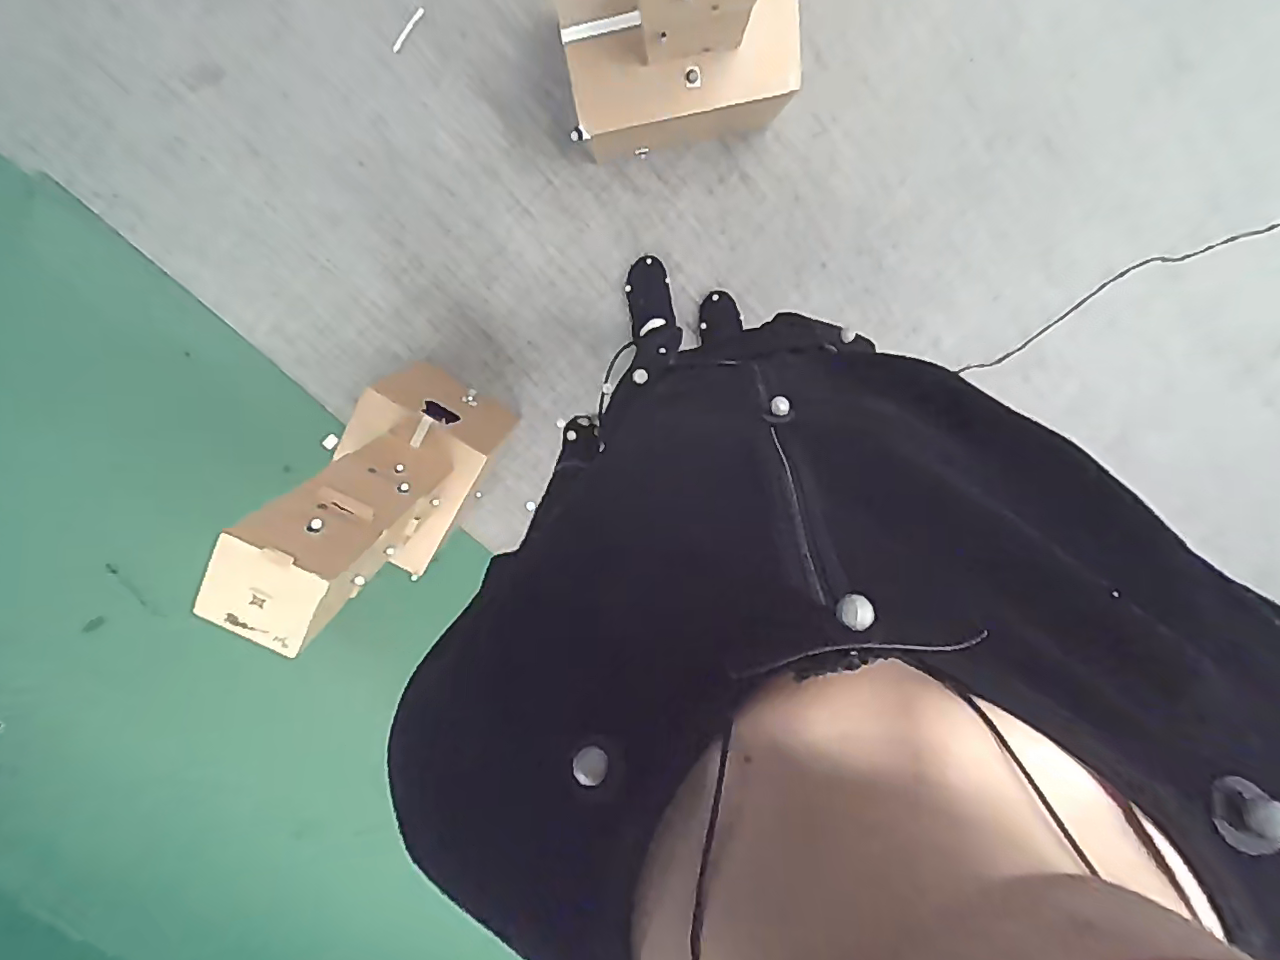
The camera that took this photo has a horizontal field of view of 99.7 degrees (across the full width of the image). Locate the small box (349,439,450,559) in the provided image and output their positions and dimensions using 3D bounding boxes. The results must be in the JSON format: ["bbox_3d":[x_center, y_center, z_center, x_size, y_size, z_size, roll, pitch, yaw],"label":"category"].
[{"bbox_3d":[-0.548,0.034,1.185,0.179,0.176,0.168,32,109,-9],"label":"small box"}]

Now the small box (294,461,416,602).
[{"bbox_3d":[-0.557,0.089,1.032,0.168,0.176,0.179,31,110,-9],"label":"small box"}]

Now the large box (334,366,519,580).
[{"bbox_3d":[-0.570,-0.031,1.424,0.320,0.320,0.408,32,111,-8],"label":"large box"}]

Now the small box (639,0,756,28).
[{"bbox_3d":[0.069,-0.712,0.681,0.168,0.176,0.179,-8,109,6],"label":"small box"}]

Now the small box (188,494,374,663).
[{"bbox_3d":[-0.568,0.151,0.880,0.168,0.176,0.179,31,109,-9],"label":"small box"}]
